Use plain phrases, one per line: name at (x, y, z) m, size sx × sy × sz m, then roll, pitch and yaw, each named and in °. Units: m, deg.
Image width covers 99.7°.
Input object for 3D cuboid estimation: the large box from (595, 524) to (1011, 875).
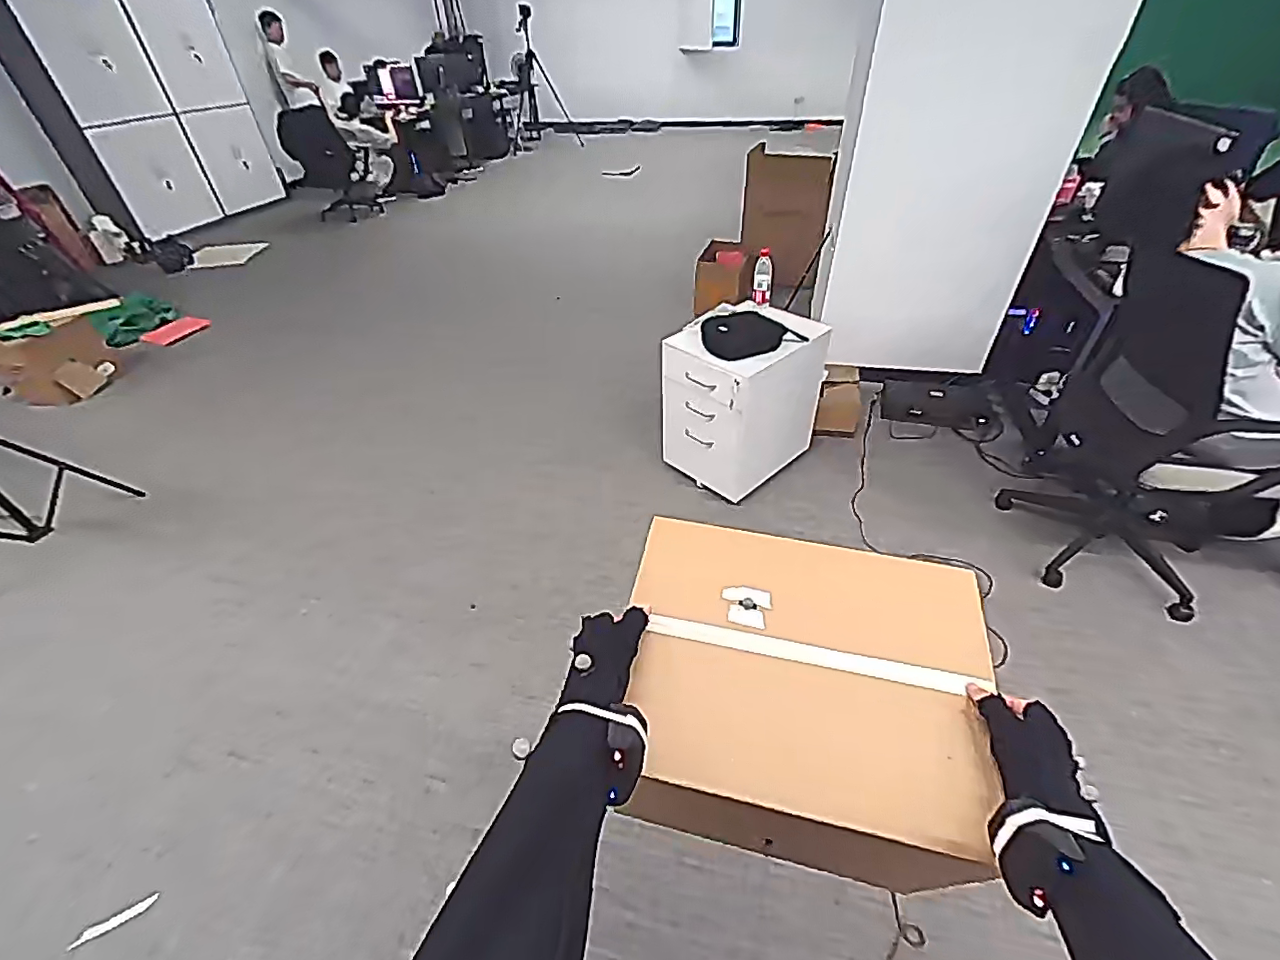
large box at (0.187, 0.295, 0.729) m, size 0.408 × 0.320 × 0.320 m, roll 8°, pitch 50°, yaw 11°
